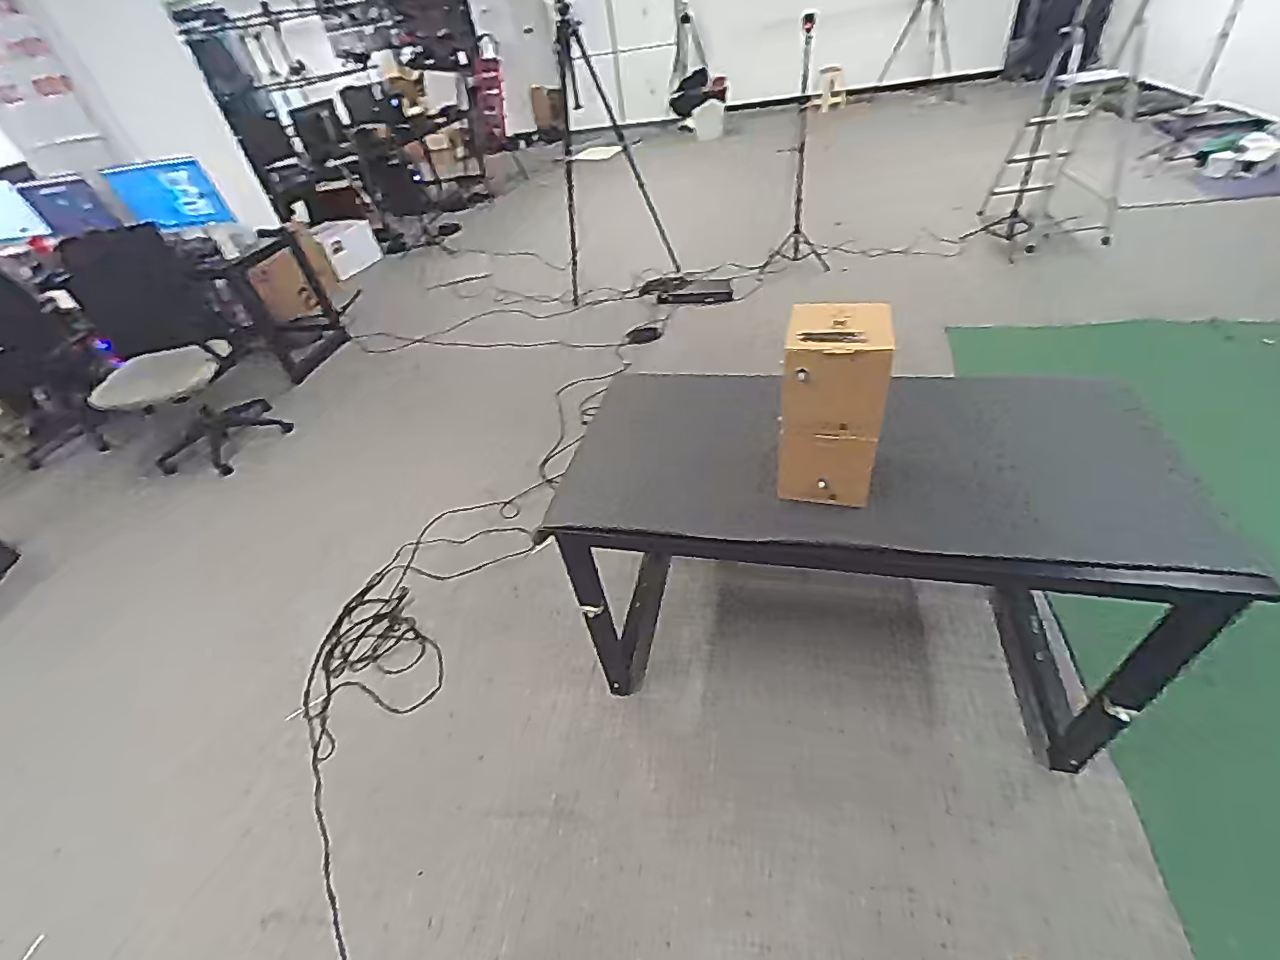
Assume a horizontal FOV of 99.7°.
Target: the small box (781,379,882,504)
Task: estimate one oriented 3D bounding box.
[{"bbox_3d":[0.372,-0.078,1.060,0.168,0.176,0.179,6,43,19],"label":"small box"}]
